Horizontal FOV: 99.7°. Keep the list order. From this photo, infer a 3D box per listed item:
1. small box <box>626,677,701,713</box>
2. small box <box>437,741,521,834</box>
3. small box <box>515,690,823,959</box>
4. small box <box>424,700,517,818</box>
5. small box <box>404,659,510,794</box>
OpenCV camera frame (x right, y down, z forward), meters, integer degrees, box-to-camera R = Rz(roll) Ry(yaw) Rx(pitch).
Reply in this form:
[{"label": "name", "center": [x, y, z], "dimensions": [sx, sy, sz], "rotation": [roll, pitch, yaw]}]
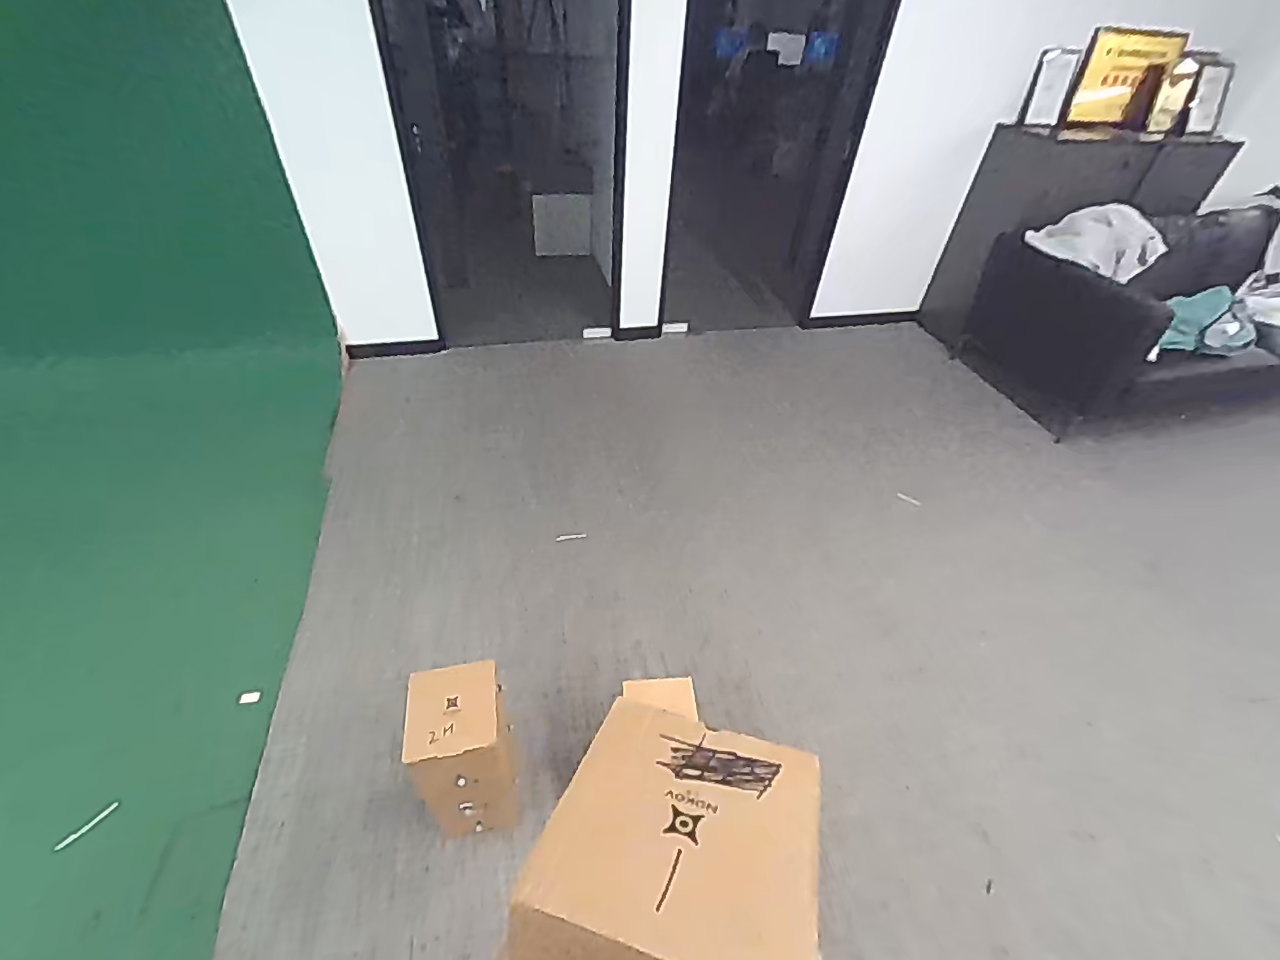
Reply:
[{"label": "small box", "center": [0.049, 0.580, 1.246], "dimensions": [0.168, 0.176, 0.179], "rotation": [-2, 43, -6]}, {"label": "small box", "center": [-0.376, 0.725, 1.295], "dimensions": [0.168, 0.176, 0.179], "rotation": [-4, 44, -9]}, {"label": "small box", "center": [0.026, 0.287, 0.373], "dimensions": [0.168, 0.176, 0.179], "rotation": [9, 19, 17]}, {"label": "small box", "center": [-0.364, 0.606, 1.184], "dimensions": [0.168, 0.176, 0.179], "rotation": [-7, 45, -10]}, {"label": "small box", "center": [-0.353, 0.486, 1.071], "dimensions": [0.168, 0.176, 0.179], "rotation": [-7, 43, -10]}]
